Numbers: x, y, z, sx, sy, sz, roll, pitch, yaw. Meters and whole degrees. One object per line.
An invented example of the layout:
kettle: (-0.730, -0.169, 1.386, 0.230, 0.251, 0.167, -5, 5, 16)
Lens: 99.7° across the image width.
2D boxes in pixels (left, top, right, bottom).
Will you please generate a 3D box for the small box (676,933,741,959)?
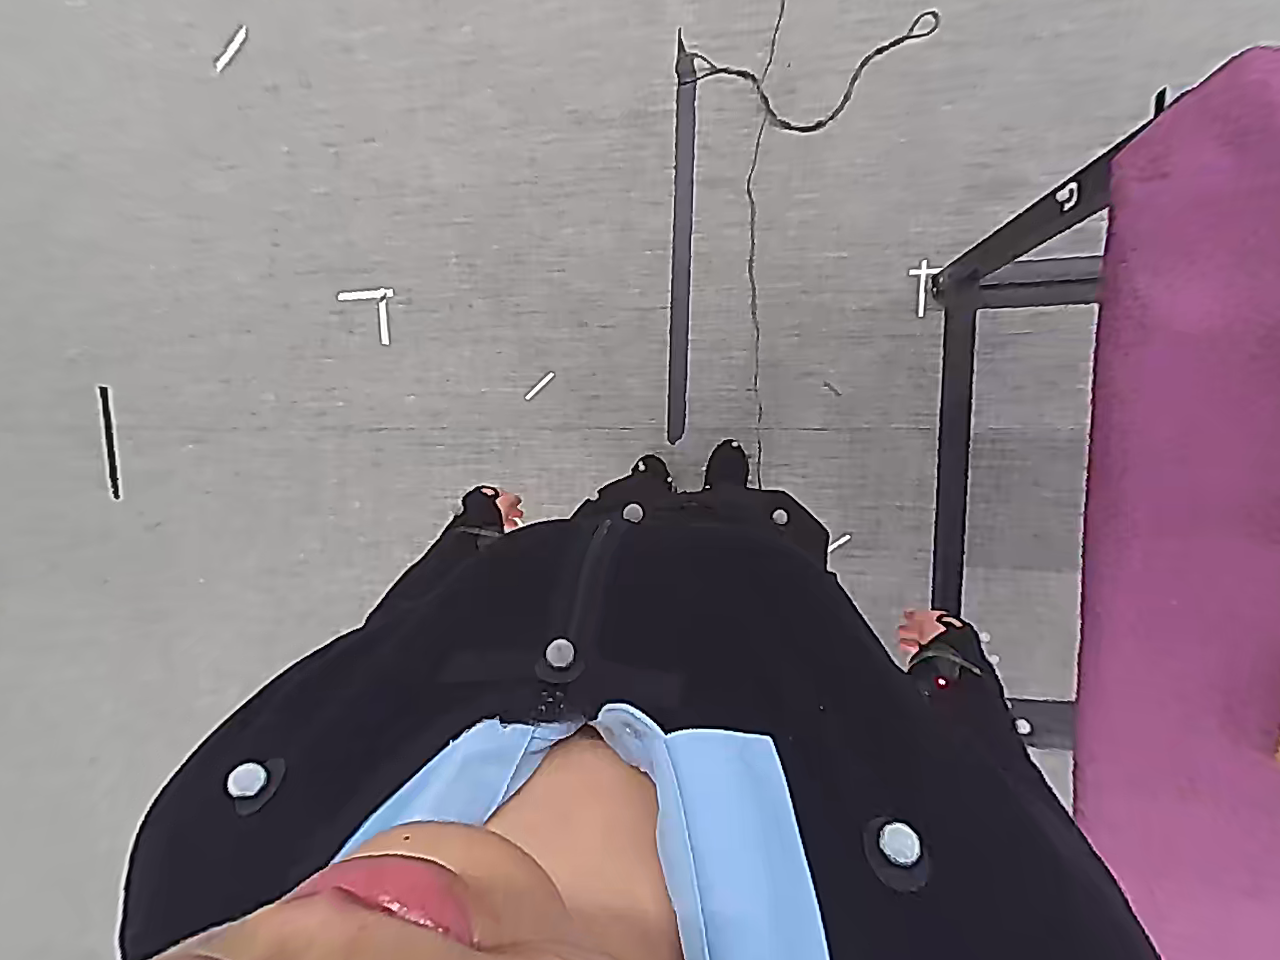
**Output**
small box: (0.189, 1.391, 1.478, 0.179, 0.176, 0.168, -5, 96, 10)
